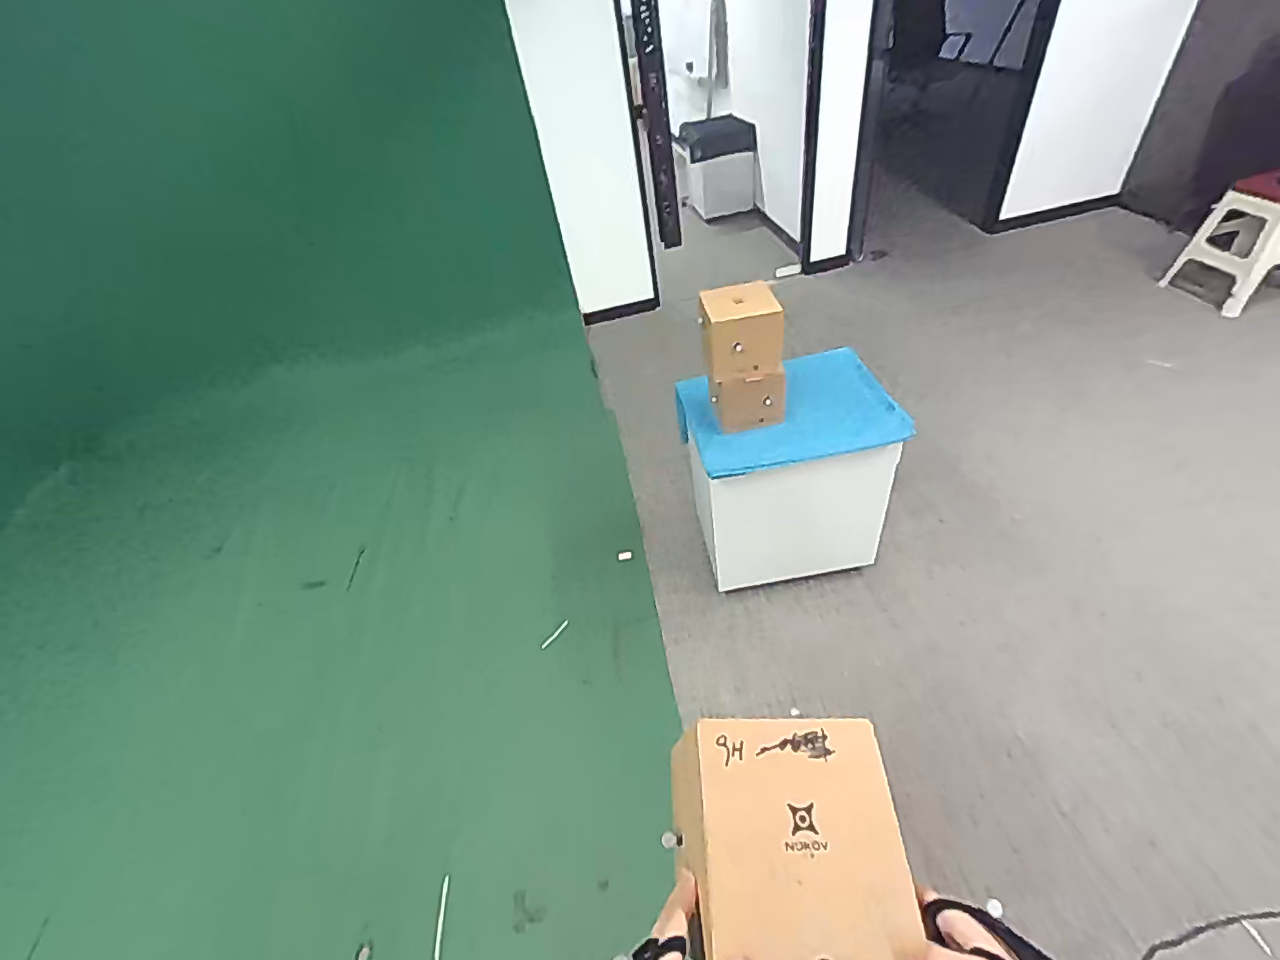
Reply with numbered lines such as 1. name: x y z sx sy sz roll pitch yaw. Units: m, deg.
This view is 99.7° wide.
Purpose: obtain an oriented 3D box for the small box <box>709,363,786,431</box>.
1. small box: 0.283 -0.245 1.440 0.168 0.176 0.179 -10 42 0

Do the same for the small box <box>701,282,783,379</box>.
1. small box: 0.249 -0.361 1.331 0.168 0.176 0.179 -9 41 1
